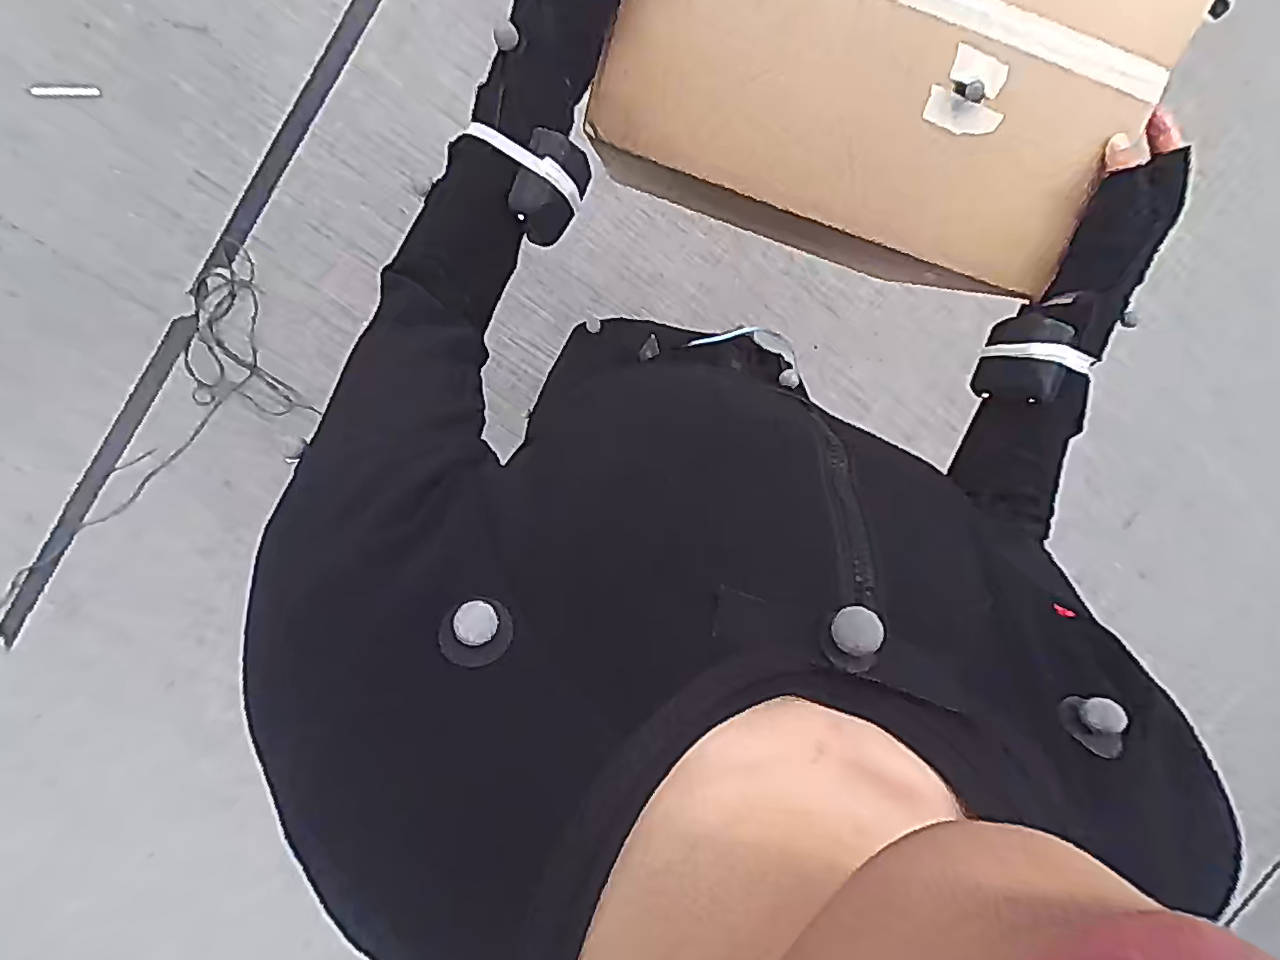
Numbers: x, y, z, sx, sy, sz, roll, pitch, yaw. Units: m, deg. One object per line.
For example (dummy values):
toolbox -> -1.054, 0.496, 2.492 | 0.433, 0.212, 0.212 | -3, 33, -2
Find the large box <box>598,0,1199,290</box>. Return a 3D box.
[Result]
large box -> 0.196, -0.412, 0.529 | 0.408, 0.320, 0.320 | 17, 114, -8
